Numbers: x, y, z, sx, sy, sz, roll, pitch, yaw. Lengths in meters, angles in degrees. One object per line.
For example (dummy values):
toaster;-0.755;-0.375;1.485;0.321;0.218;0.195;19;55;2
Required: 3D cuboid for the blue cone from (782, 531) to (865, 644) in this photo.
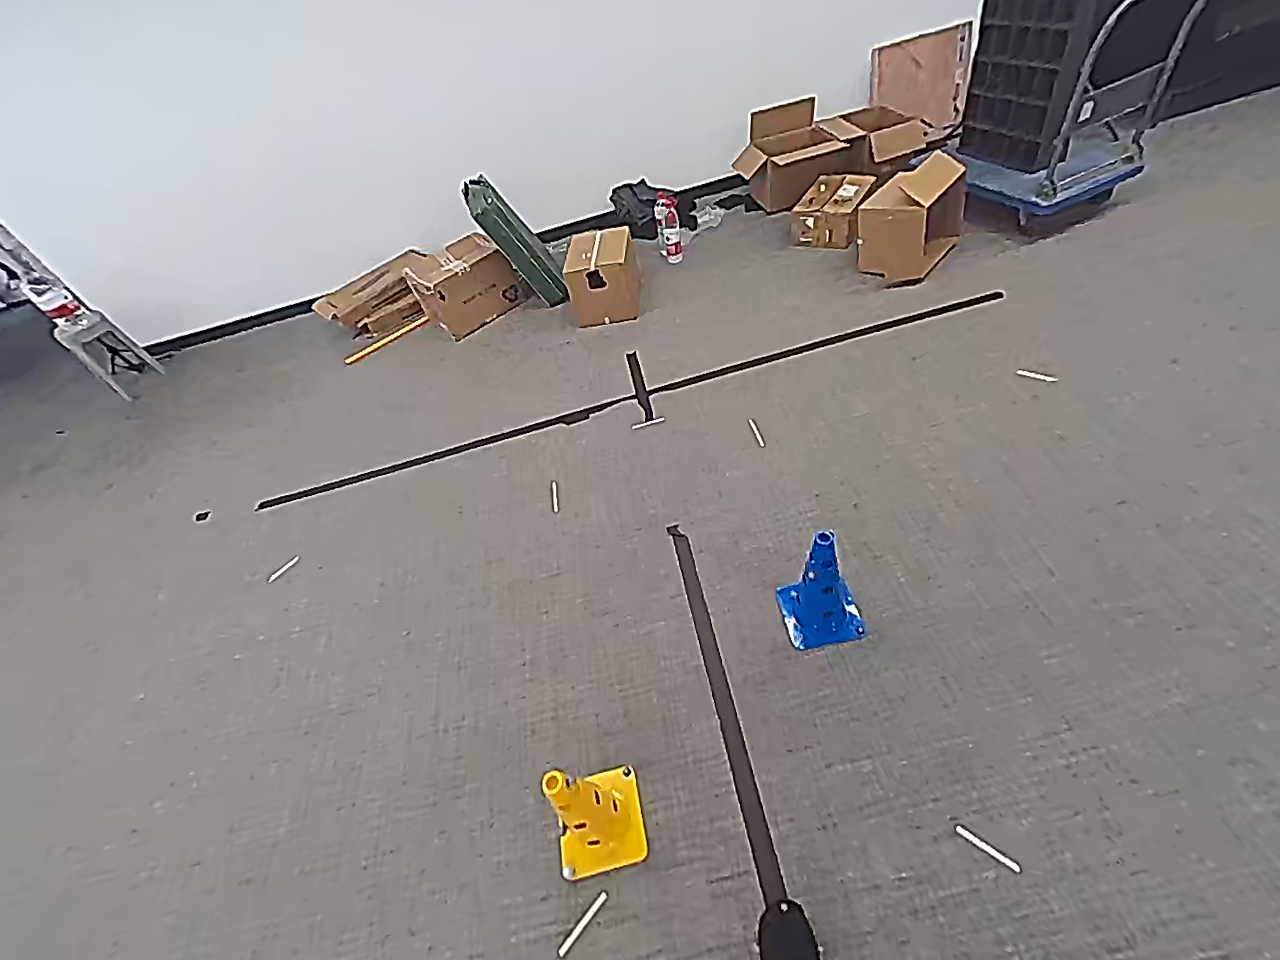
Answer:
blue cone;0.476;0.258;1.403;0.192;0.380;0.193;-12;46;4
